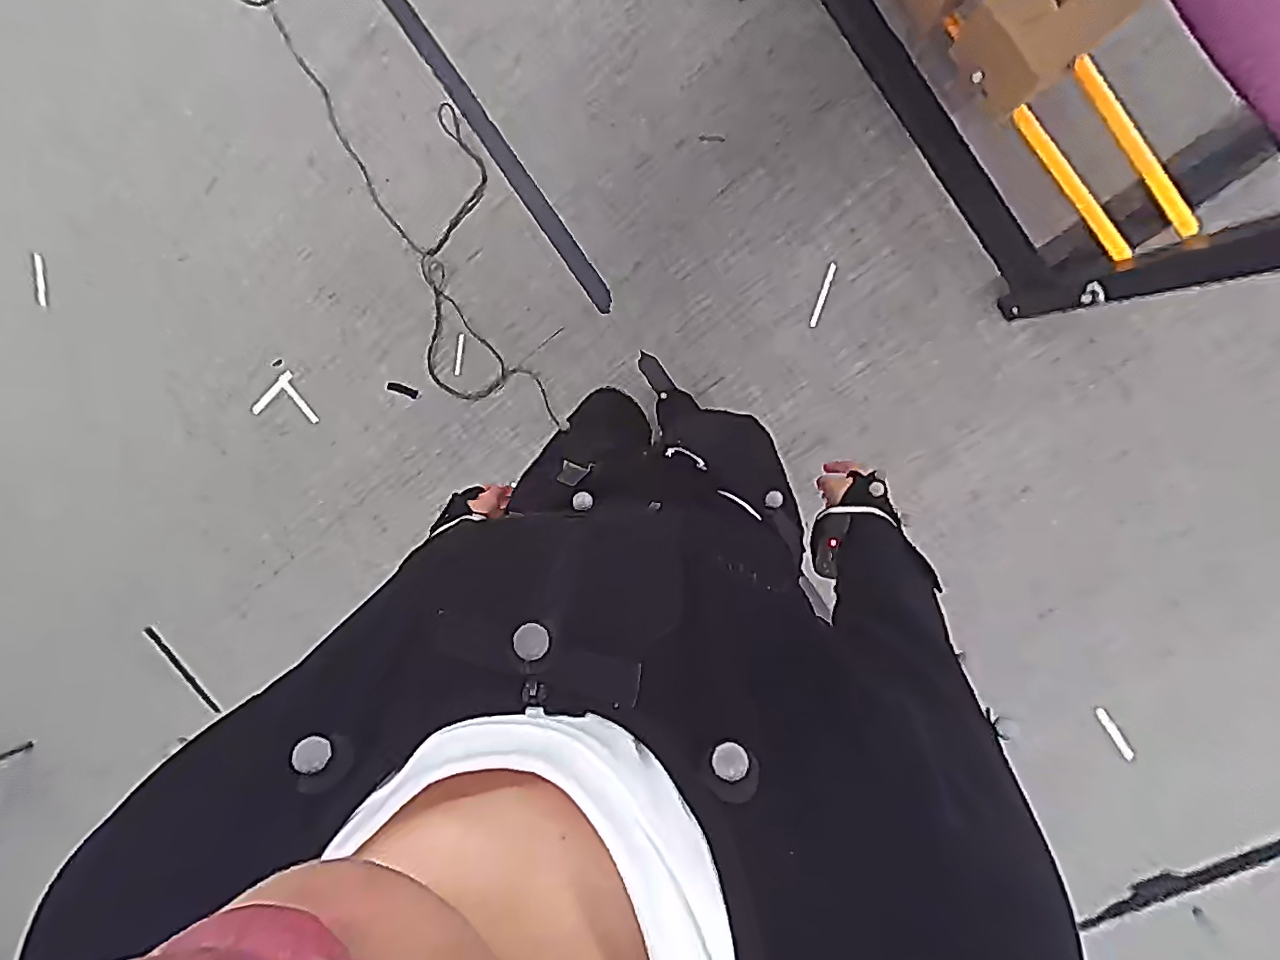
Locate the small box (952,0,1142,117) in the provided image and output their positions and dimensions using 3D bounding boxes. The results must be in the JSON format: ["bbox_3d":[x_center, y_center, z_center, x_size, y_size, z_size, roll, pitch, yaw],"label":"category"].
[{"bbox_3d":[0.670,-0.768,0.906,0.179,0.176,0.168,-37,92,18],"label":"small box"}]
